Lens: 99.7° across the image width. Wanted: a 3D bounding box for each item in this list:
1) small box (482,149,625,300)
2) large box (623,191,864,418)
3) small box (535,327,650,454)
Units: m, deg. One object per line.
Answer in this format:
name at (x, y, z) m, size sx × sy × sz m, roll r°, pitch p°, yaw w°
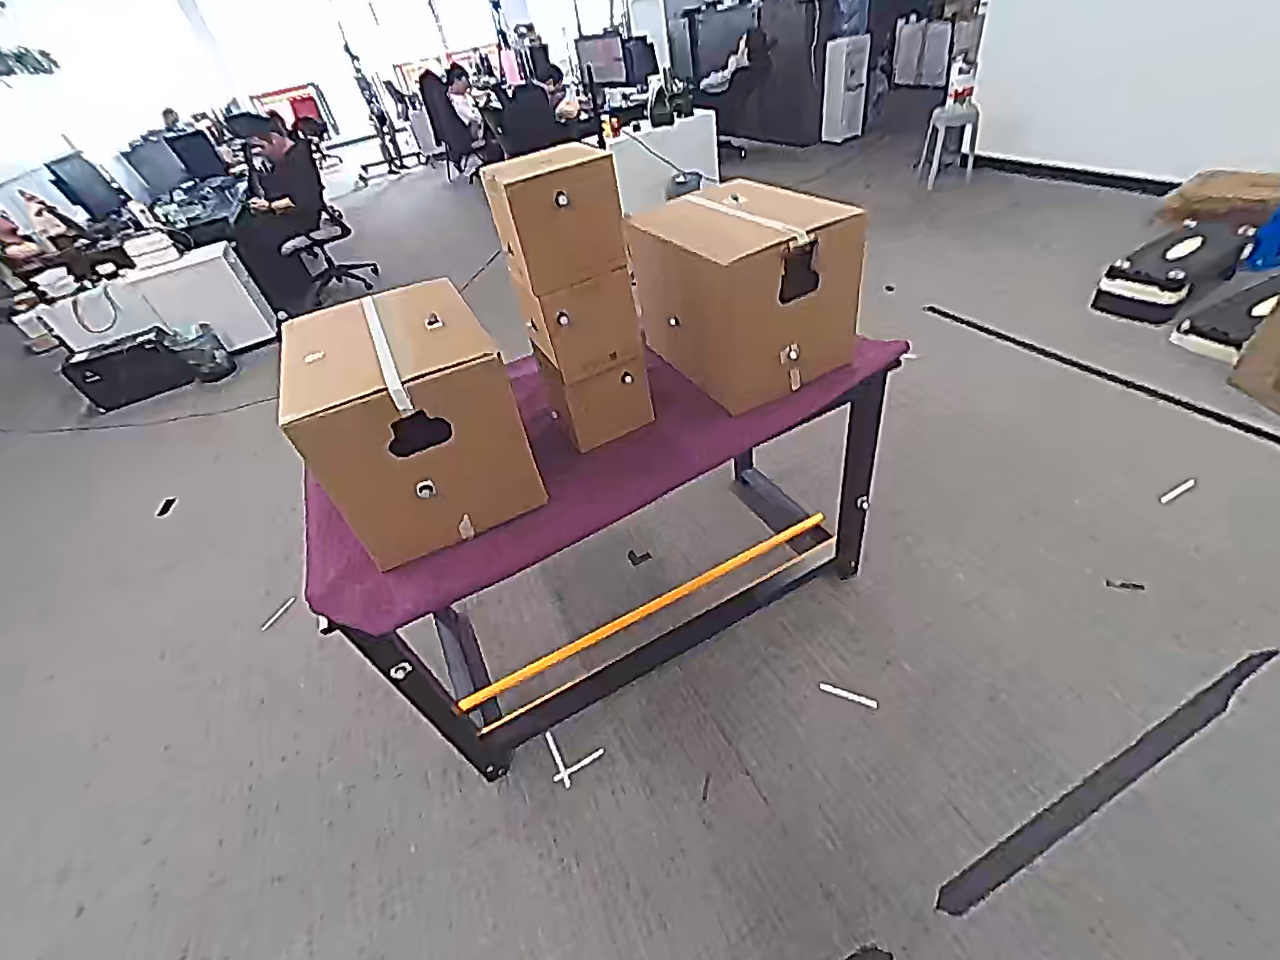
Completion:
small box at (-0.136, -0.424, 0.896) m, size 0.179 × 0.176 × 0.168 m, roll -24°, pitch 42°, yaw -13°
large box at (0.212, -0.393, 1.169) m, size 0.320 × 0.320 × 0.408 m, roll -25°, pitch 41°, yaw -14°
small box at (-0.090, -0.185, 1.114) m, size 0.179 × 0.176 × 0.168 m, roll -26°, pitch 42°, yaw -15°
